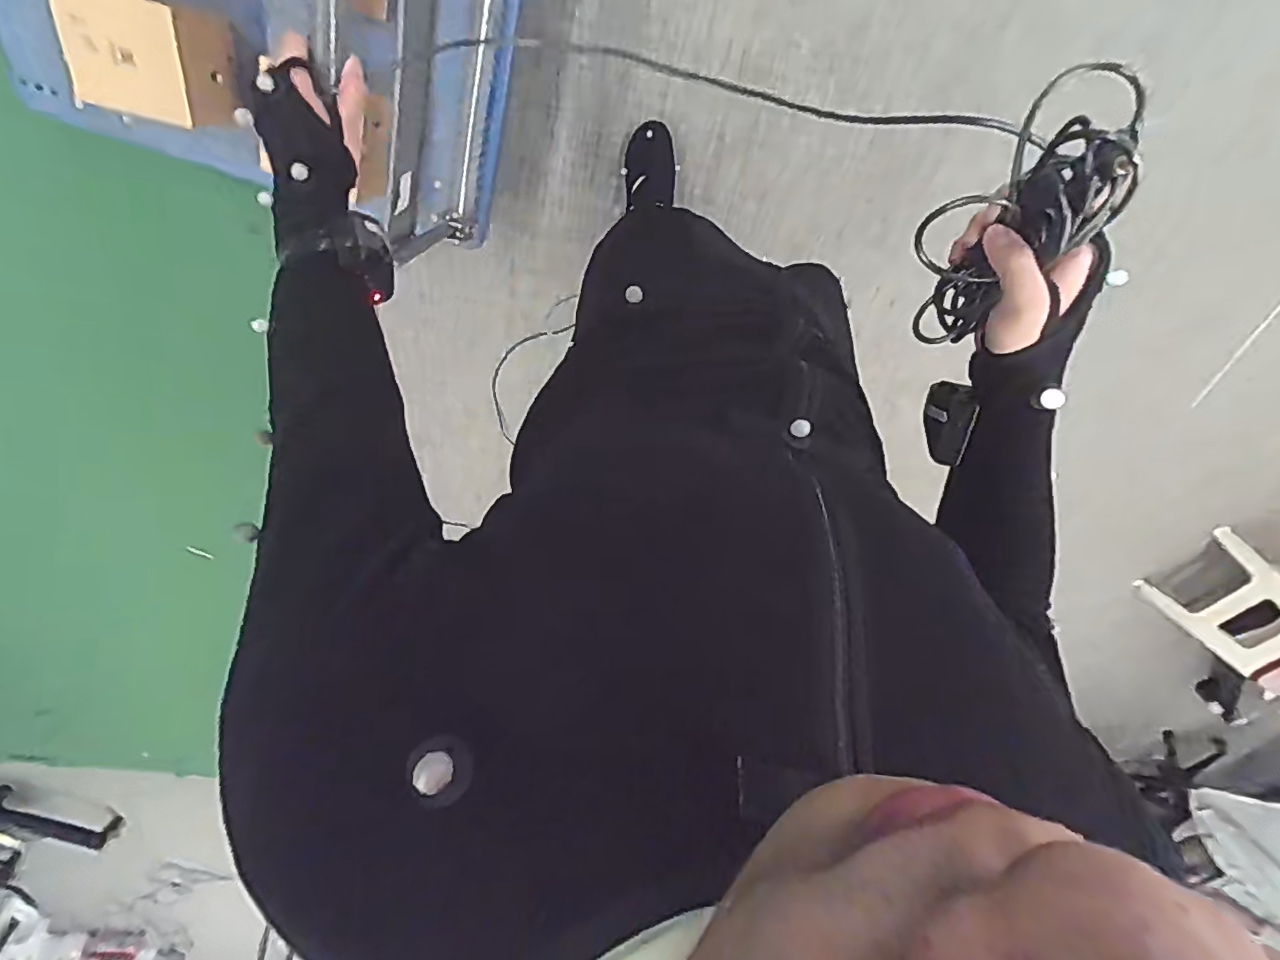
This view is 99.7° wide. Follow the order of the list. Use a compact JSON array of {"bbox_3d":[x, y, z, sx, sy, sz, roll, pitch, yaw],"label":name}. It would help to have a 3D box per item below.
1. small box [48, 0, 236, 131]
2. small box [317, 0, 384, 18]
[{"bbox_3d":[-0.830,-0.723,0.925,0.179,0.176,0.168,10,125,-11],"label":"small box"},{"bbox_3d":[-0.514,-0.860,0.845,0.179,0.176,0.168,14,125,-14],"label":"small box"}]
